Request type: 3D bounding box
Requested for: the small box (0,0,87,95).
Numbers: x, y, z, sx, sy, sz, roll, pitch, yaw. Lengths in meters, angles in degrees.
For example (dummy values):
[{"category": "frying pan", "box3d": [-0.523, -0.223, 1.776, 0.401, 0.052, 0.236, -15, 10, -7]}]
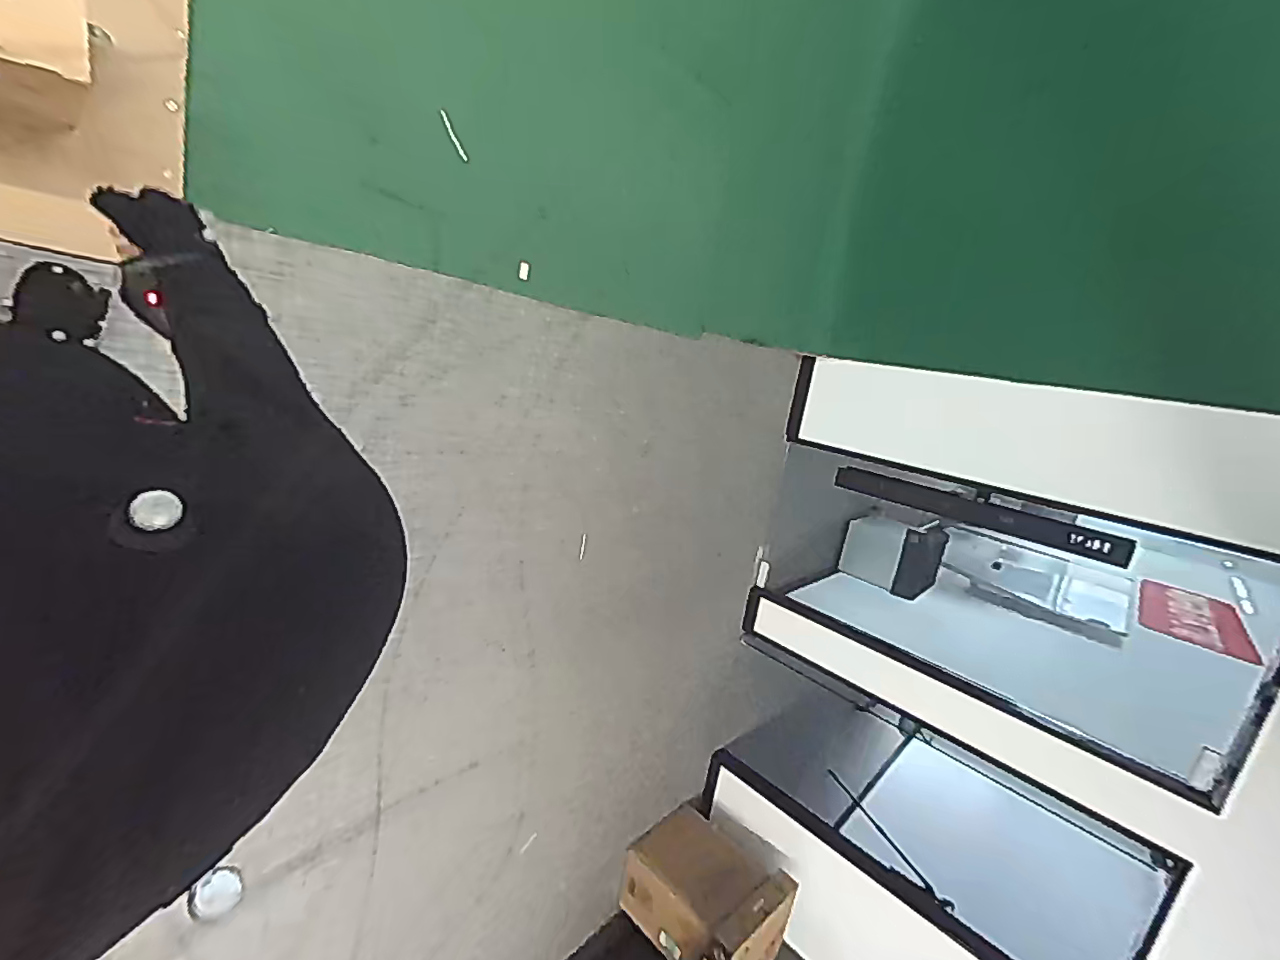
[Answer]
[{"category": "small box", "box3d": [-0.841, -0.642, 0.698, 0.168, 0.176, 0.179, -5, 109, -47]}]
